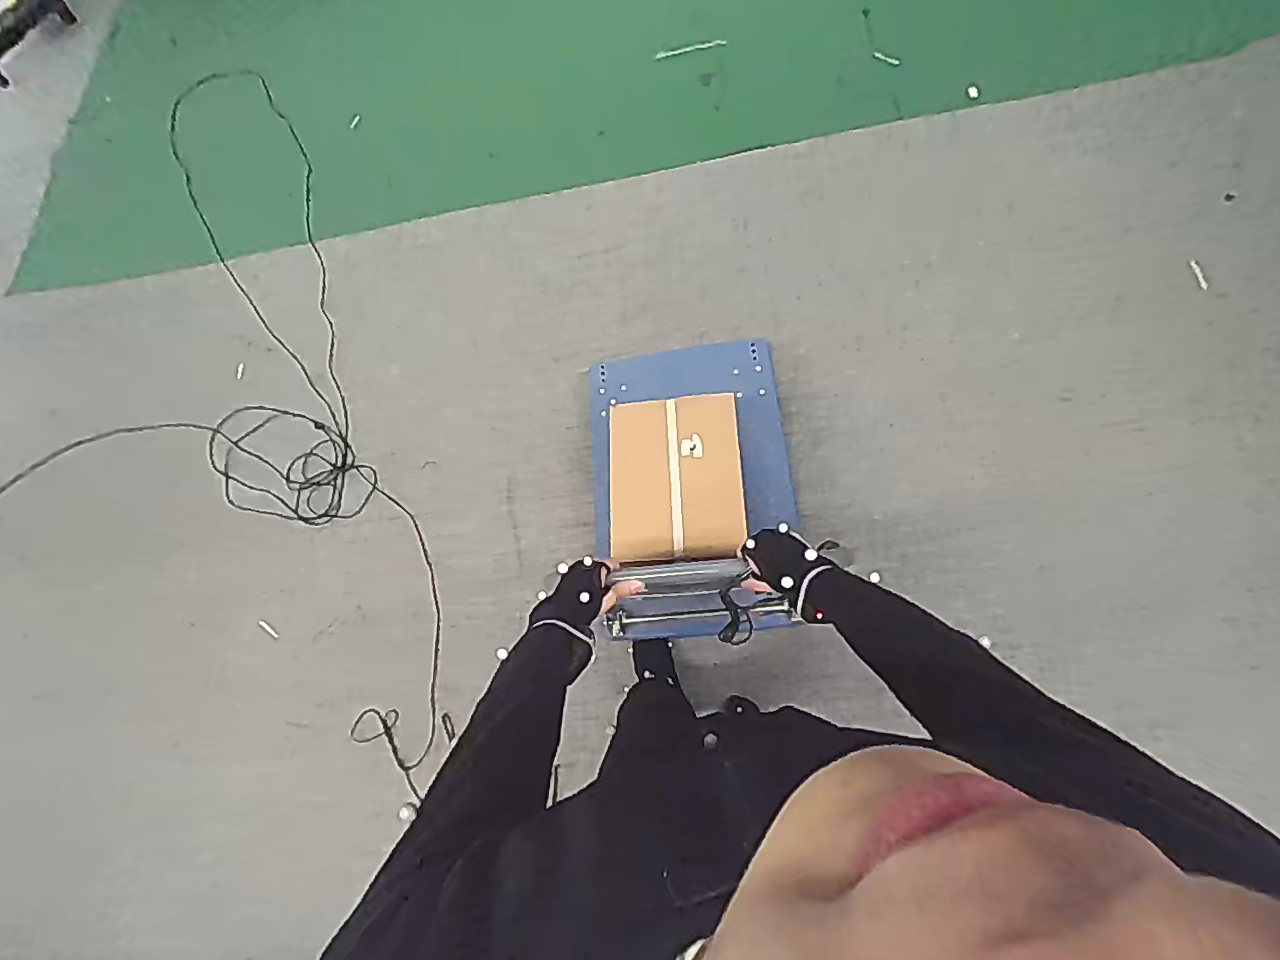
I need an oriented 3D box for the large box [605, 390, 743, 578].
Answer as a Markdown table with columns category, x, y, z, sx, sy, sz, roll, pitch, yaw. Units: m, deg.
| category | x | y | z | sx | sy | sz | roll | pitch | yaw |
| --- | --- | --- | --- | --- | --- | --- | --- | --- | --- |
| large box | 0.093 | 0.027 | 1.417 | 0.320 | 0.320 | 0.408 | -4 | 71 | 7 |
